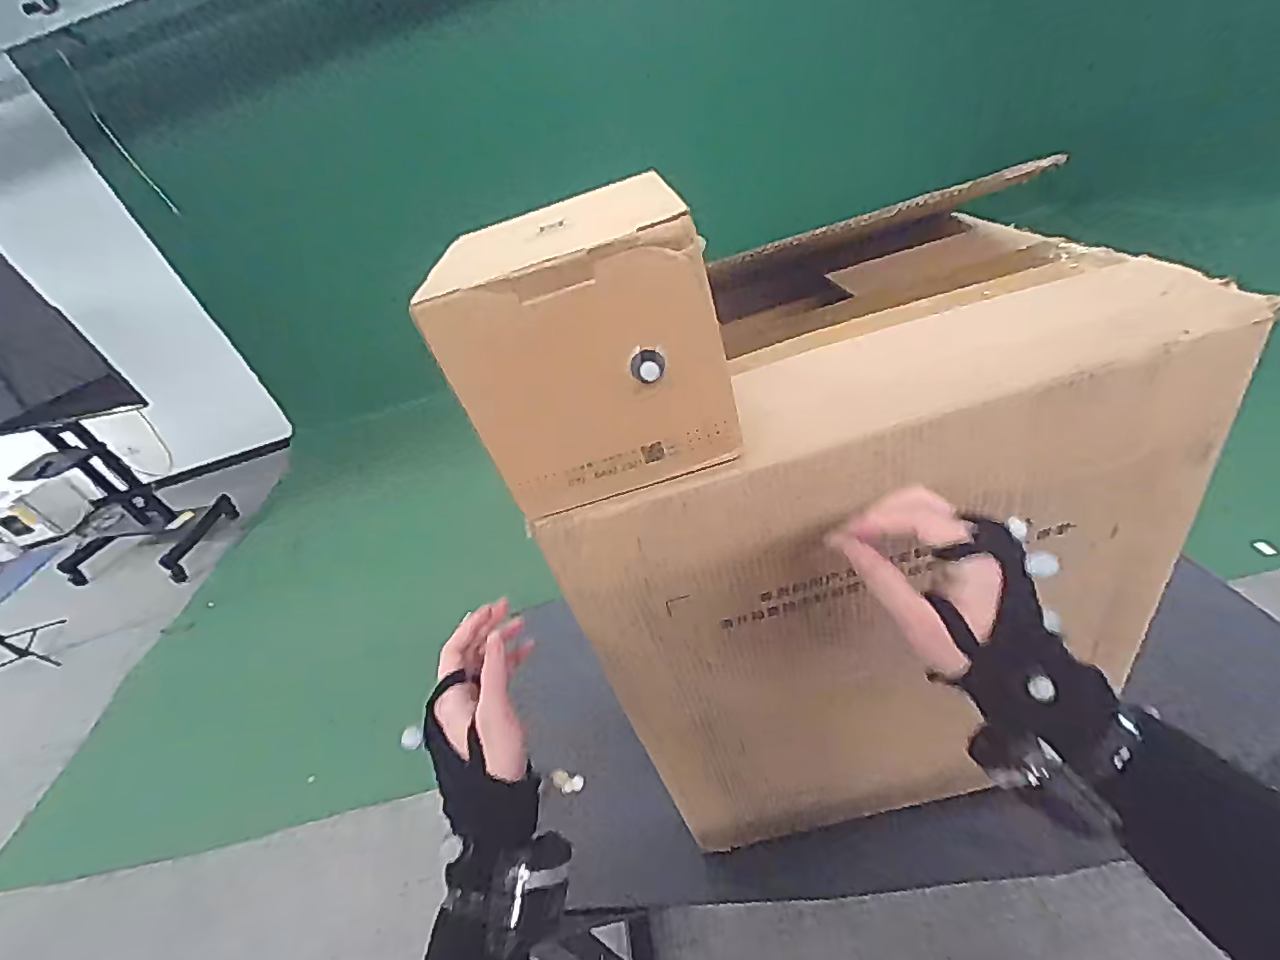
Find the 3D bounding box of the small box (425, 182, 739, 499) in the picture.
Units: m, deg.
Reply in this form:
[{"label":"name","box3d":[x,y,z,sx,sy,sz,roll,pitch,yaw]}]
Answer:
[{"label":"small box","box3d":[-0.032,-0.103,0.417,0.168,0.176,0.179,-17,34,5]}]
